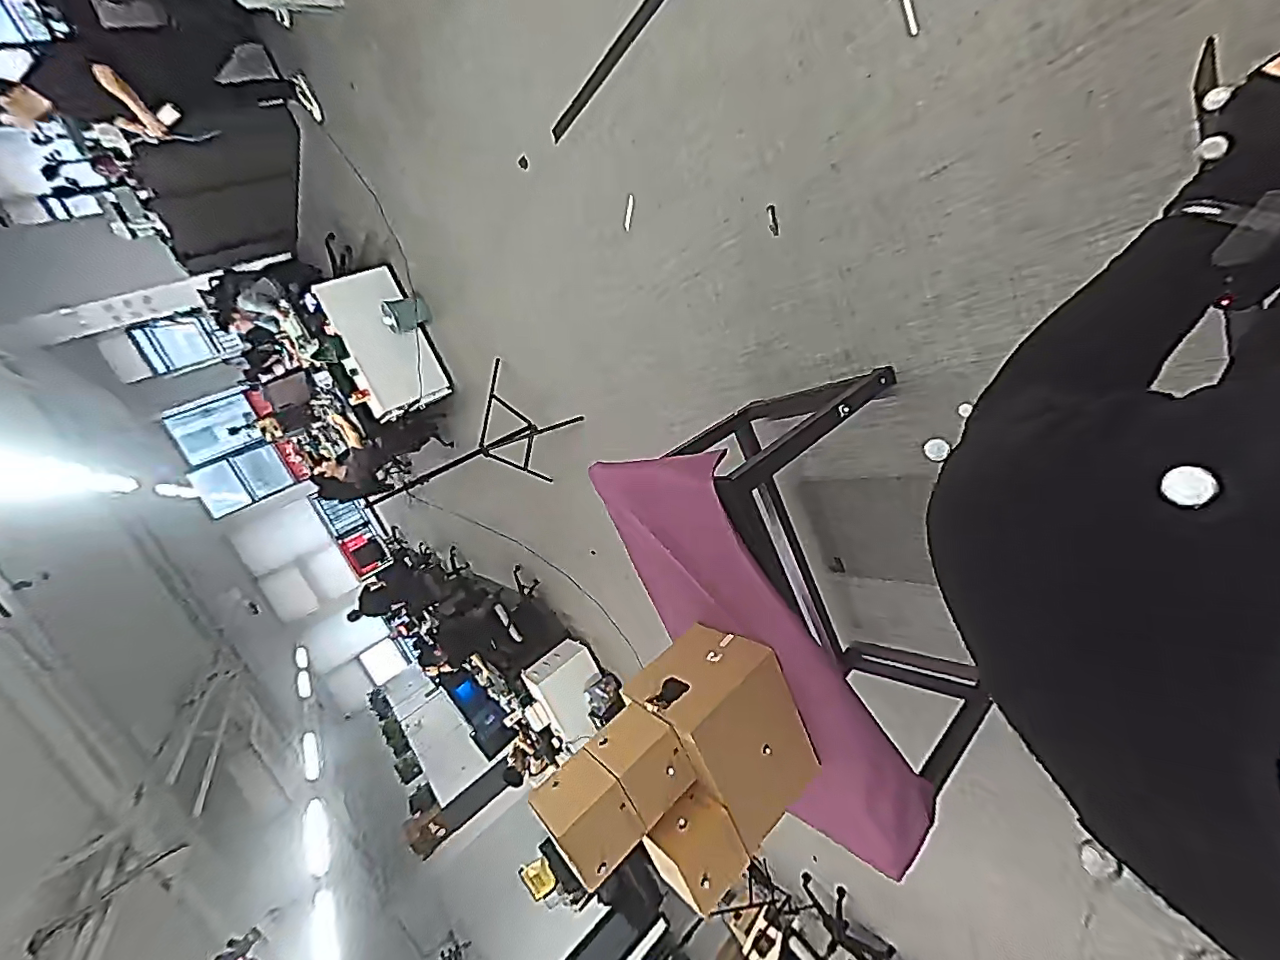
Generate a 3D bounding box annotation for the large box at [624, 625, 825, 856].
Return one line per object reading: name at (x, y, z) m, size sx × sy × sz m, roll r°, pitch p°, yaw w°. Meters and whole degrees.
large box at (0.227, 0.660, 1.444) m, size 0.320 × 0.320 × 0.408 m, roll 0°, pitch 119°, yaw 58°

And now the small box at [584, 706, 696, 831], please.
small box at (0.002, 0.677, 1.296) m, size 0.179 × 0.176 × 0.168 m, roll -1°, pitch 119°, yaw 57°
